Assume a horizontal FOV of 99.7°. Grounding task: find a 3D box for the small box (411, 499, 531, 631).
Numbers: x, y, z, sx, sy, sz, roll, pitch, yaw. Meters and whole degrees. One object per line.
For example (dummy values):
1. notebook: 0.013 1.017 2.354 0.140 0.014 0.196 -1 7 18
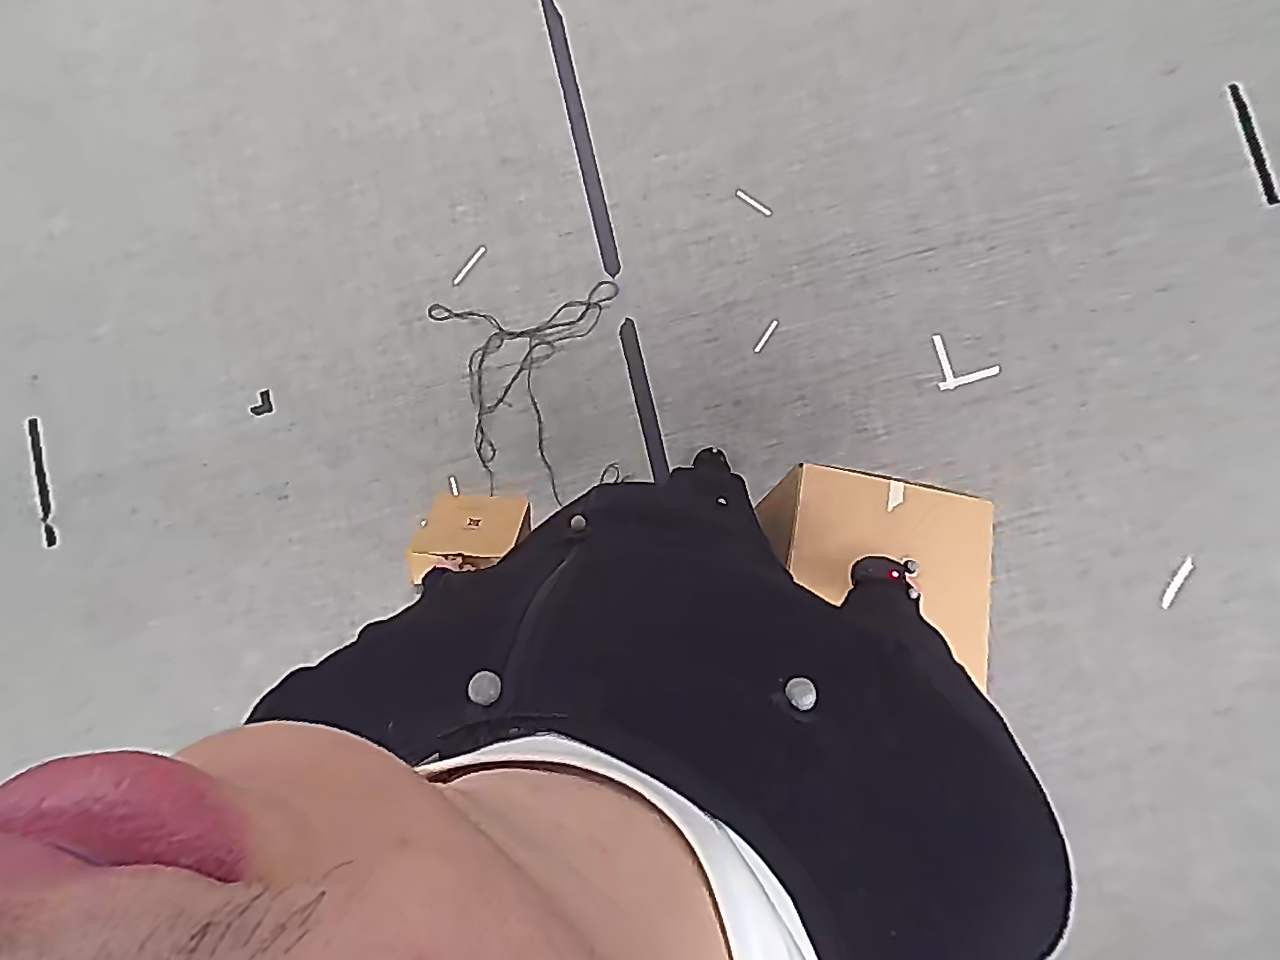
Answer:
1. small box: -0.295 0.155 0.990 0.168 0.179 0.176 4 120 -2
